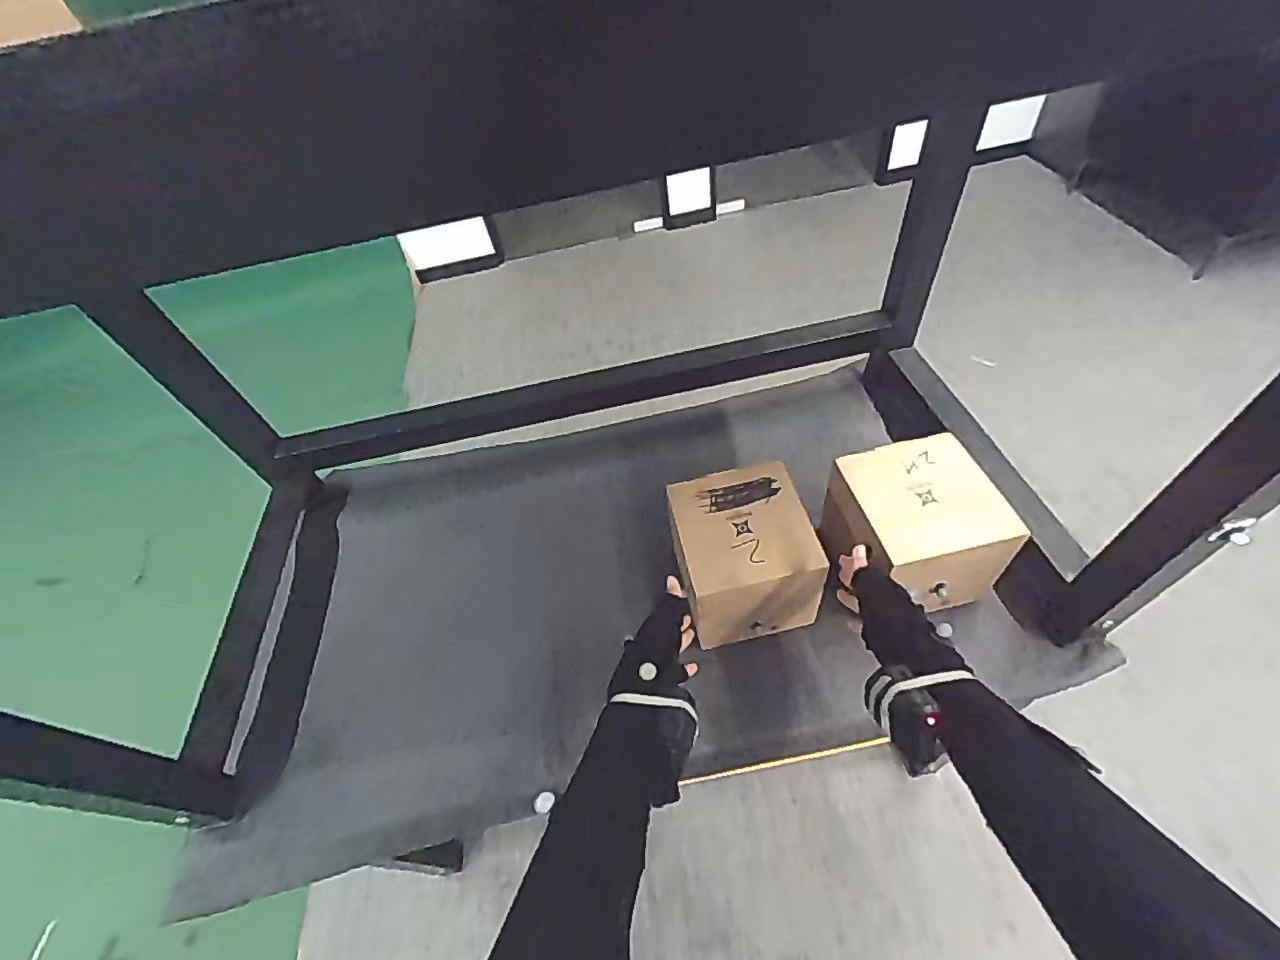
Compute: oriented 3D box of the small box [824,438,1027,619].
[{"bbox_3d":[0.370,0.074,0.742,0.168,0.176,0.179,-13,50,-1],"label":"small box"}]
